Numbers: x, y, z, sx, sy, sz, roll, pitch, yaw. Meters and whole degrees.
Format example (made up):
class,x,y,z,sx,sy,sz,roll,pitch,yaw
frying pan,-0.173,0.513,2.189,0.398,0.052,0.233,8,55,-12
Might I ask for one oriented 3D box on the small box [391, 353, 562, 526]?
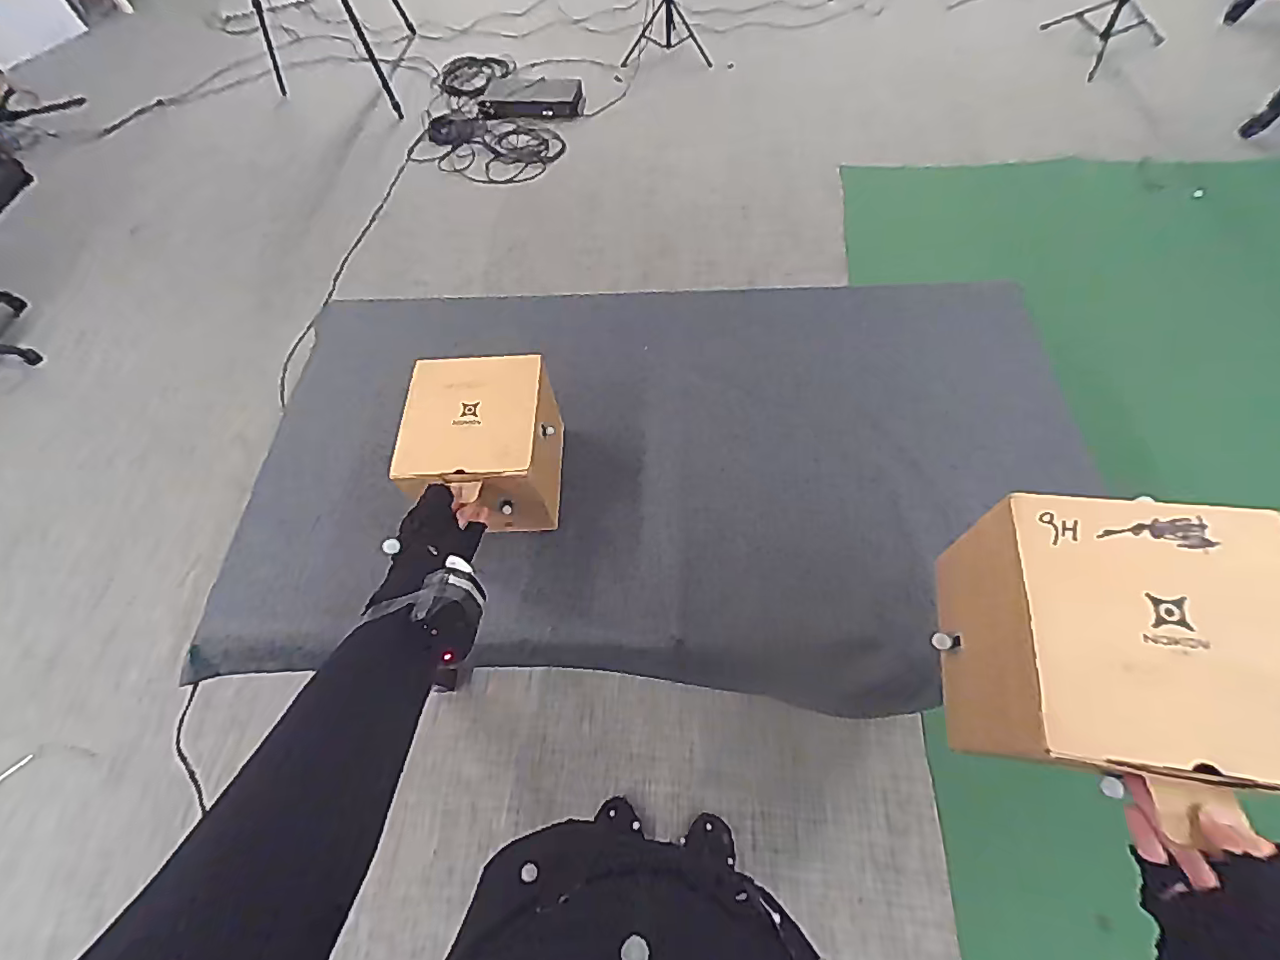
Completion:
class,x,y,z,sx,sy,sz,roll,pitch,yaw
small box,-0.201,-0.045,0.722,0.168,0.176,0.179,-2,60,1
